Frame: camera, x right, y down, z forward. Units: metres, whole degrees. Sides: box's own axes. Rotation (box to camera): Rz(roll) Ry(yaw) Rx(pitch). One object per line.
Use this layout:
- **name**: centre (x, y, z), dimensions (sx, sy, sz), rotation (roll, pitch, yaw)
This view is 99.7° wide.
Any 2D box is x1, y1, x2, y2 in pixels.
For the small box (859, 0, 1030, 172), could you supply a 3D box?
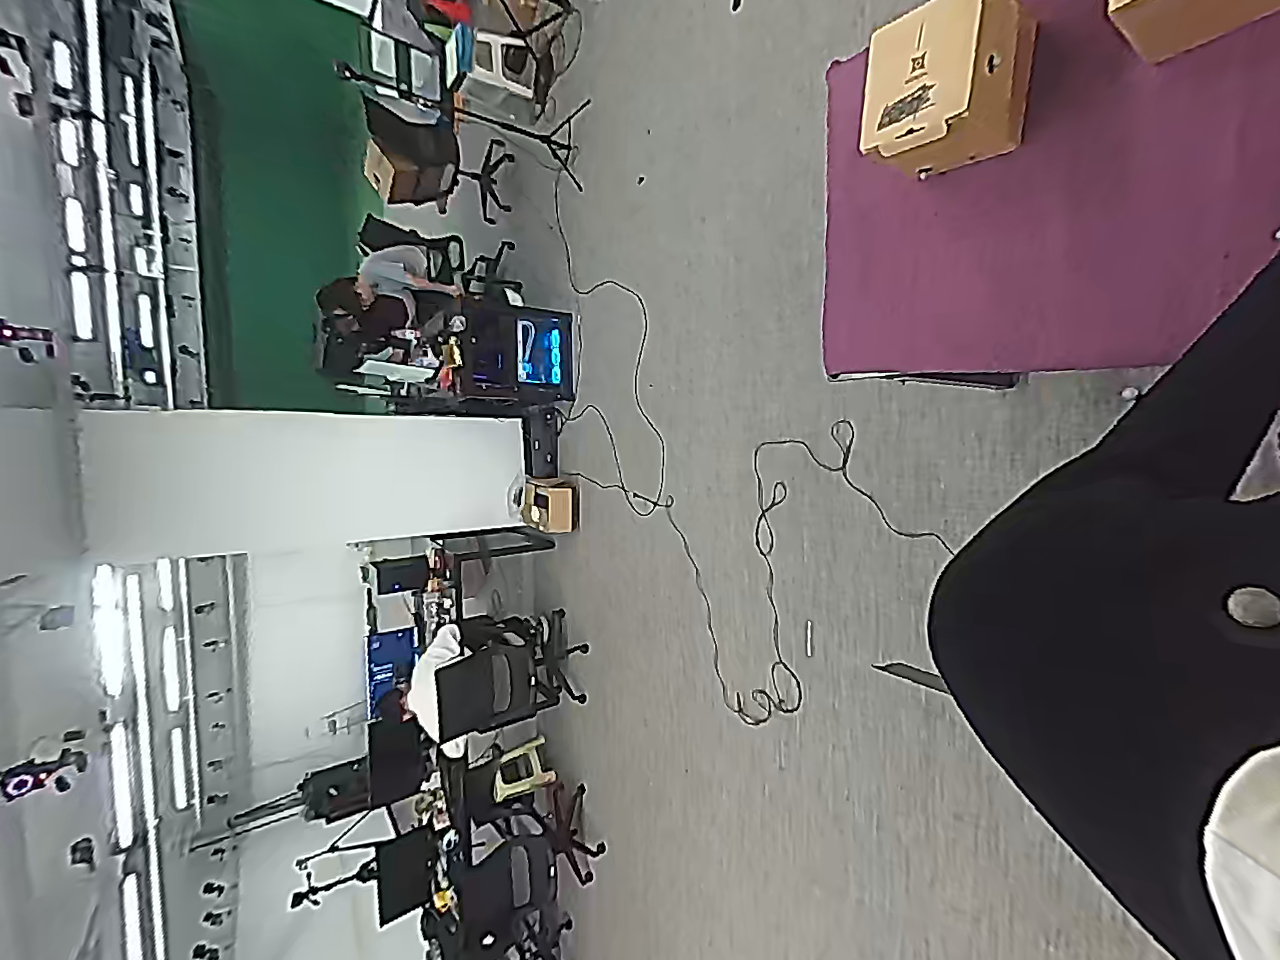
- **small box**: centre (0.462, -0.594, 0.824), dimensions (0.168, 0.176, 0.179), rotation (14, 105, 54)
